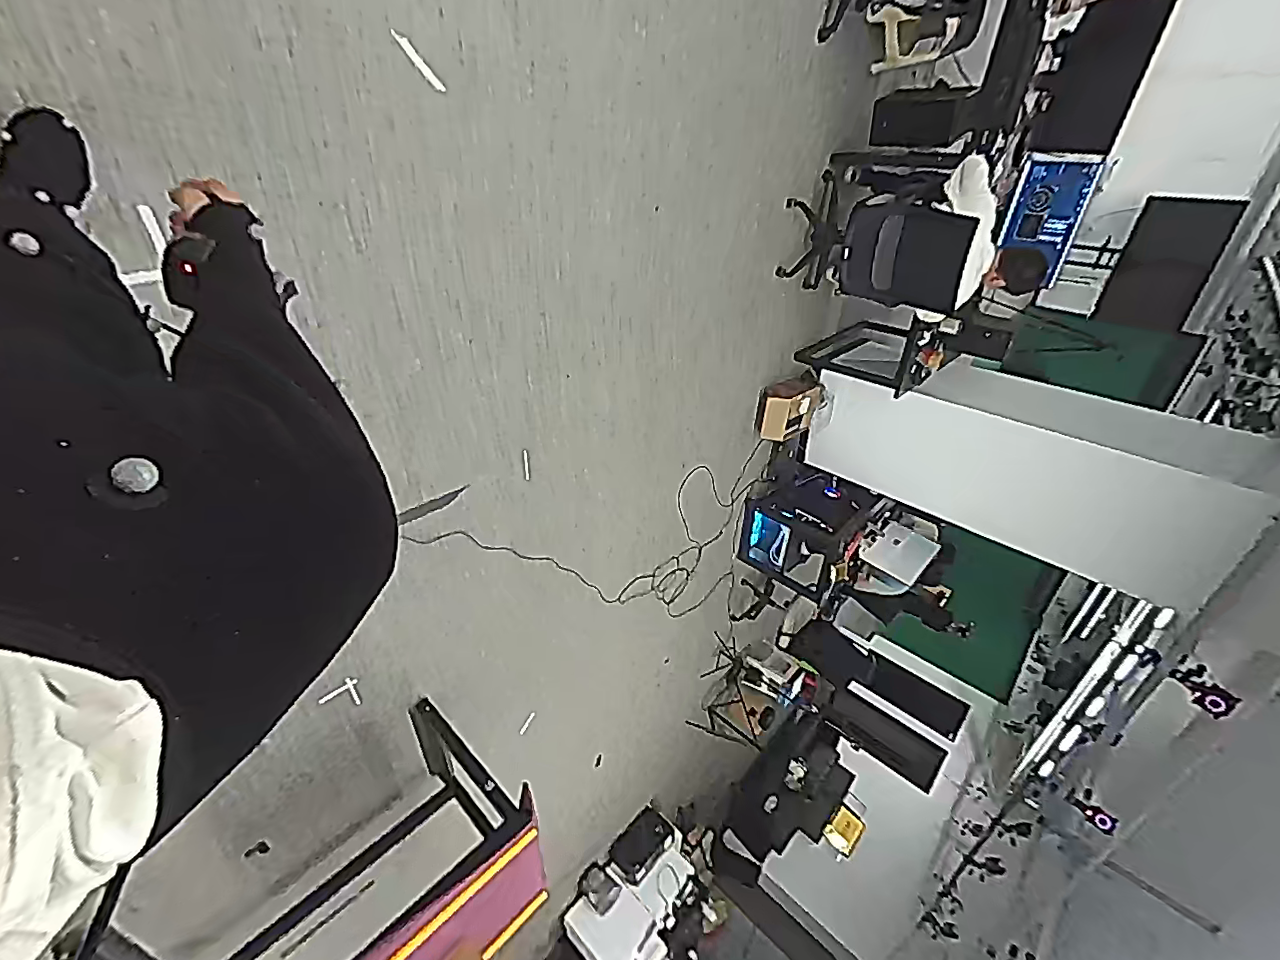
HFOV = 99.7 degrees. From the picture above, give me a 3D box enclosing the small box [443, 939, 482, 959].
[{"bbox_3d":[-0.607,1.732,1.845,0.168,0.176,0.179,-28,131,-40],"label":"small box"}]
